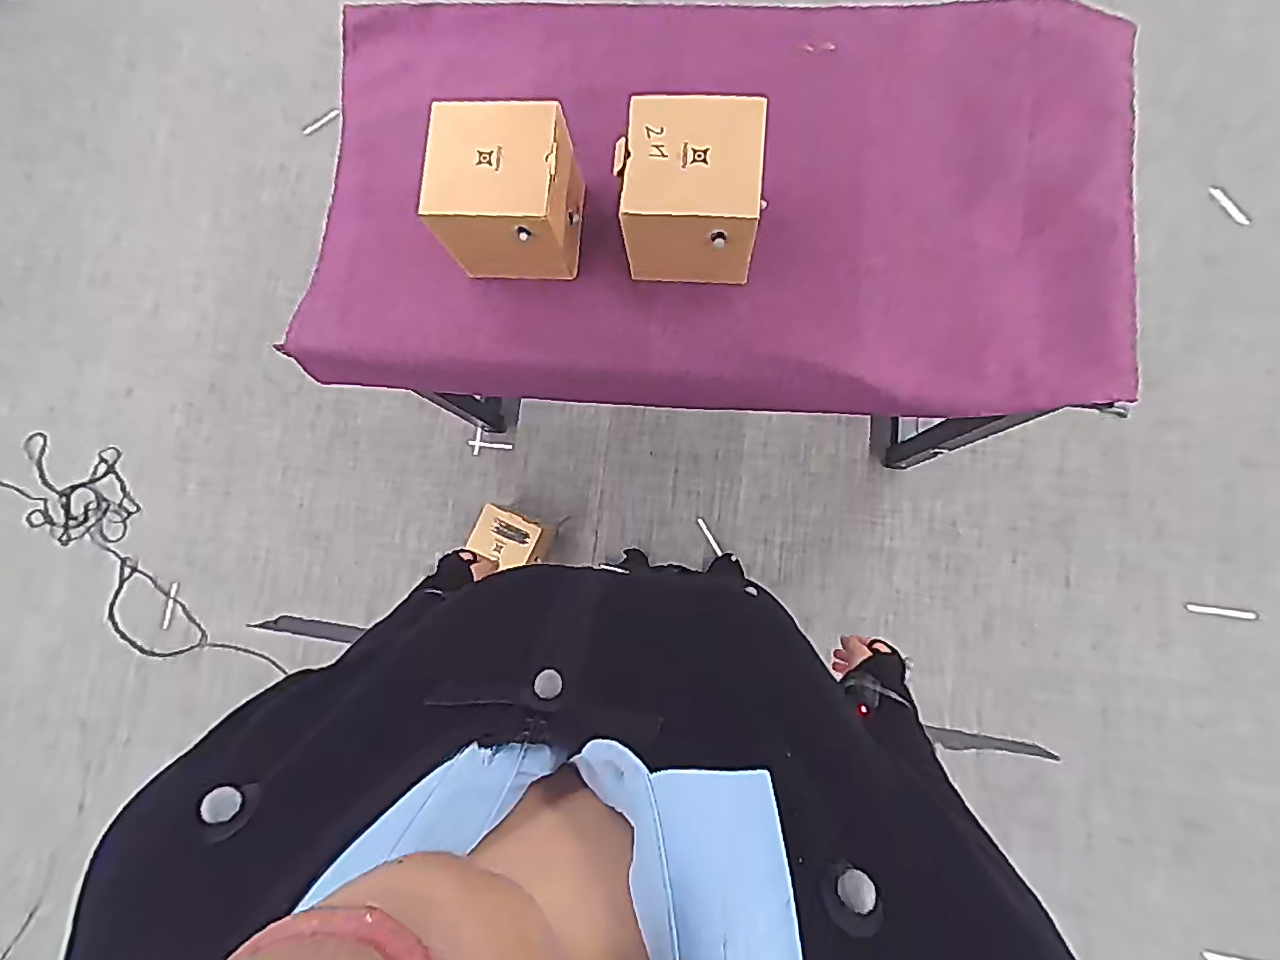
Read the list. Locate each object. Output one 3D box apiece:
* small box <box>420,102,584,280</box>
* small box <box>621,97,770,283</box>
[{"bbox_3d":[-0.188,-0.407,0.785,0.179,0.176,0.168,3,83,5],"label":"small box"},{"bbox_3d":[0.076,-0.392,0.755,0.179,0.176,0.168,4,82,6],"label":"small box"}]
